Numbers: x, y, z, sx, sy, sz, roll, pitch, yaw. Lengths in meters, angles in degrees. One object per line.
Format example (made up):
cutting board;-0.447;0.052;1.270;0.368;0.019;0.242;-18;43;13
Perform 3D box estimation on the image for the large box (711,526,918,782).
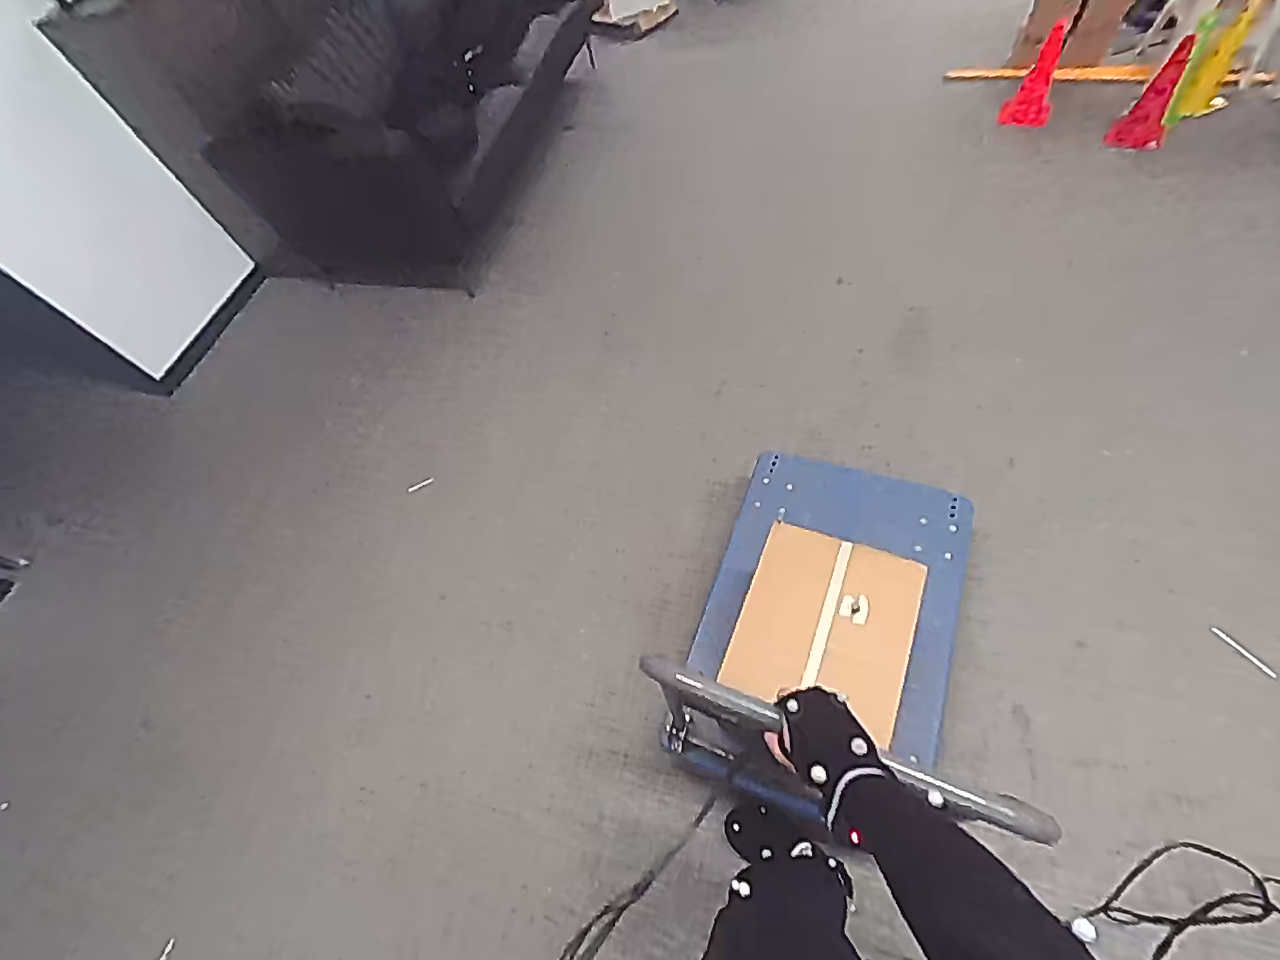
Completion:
large box;0.372;0.379;1.179;0.320;0.320;0.408;17;63;20
